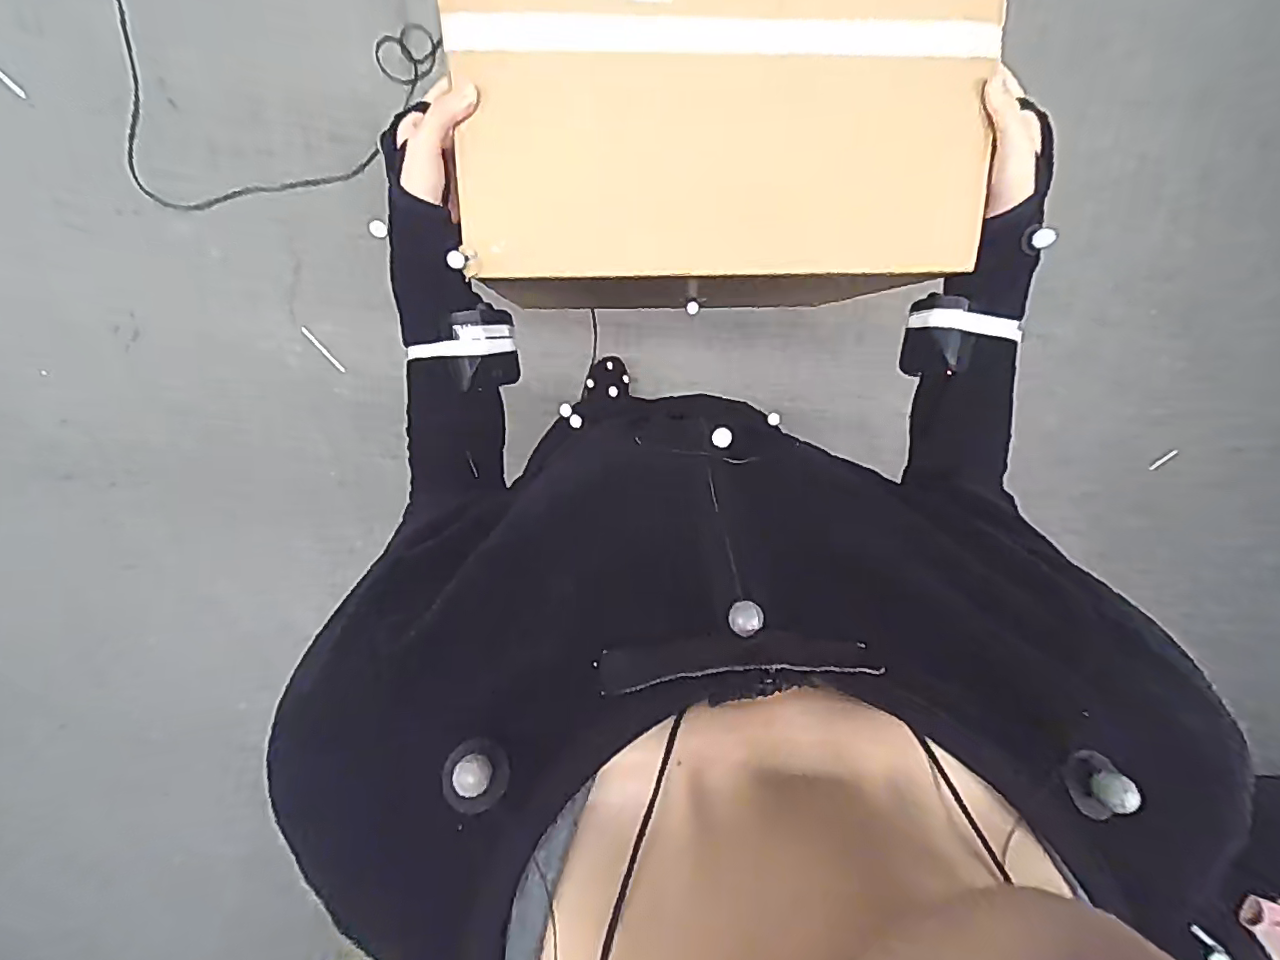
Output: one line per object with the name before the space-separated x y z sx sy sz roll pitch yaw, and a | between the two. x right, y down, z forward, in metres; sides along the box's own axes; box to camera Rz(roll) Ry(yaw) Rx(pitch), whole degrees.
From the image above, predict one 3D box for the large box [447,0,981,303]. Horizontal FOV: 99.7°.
large box | 0.051 -0.352 0.550 0.408 0.320 0.320 -1 103 -4
